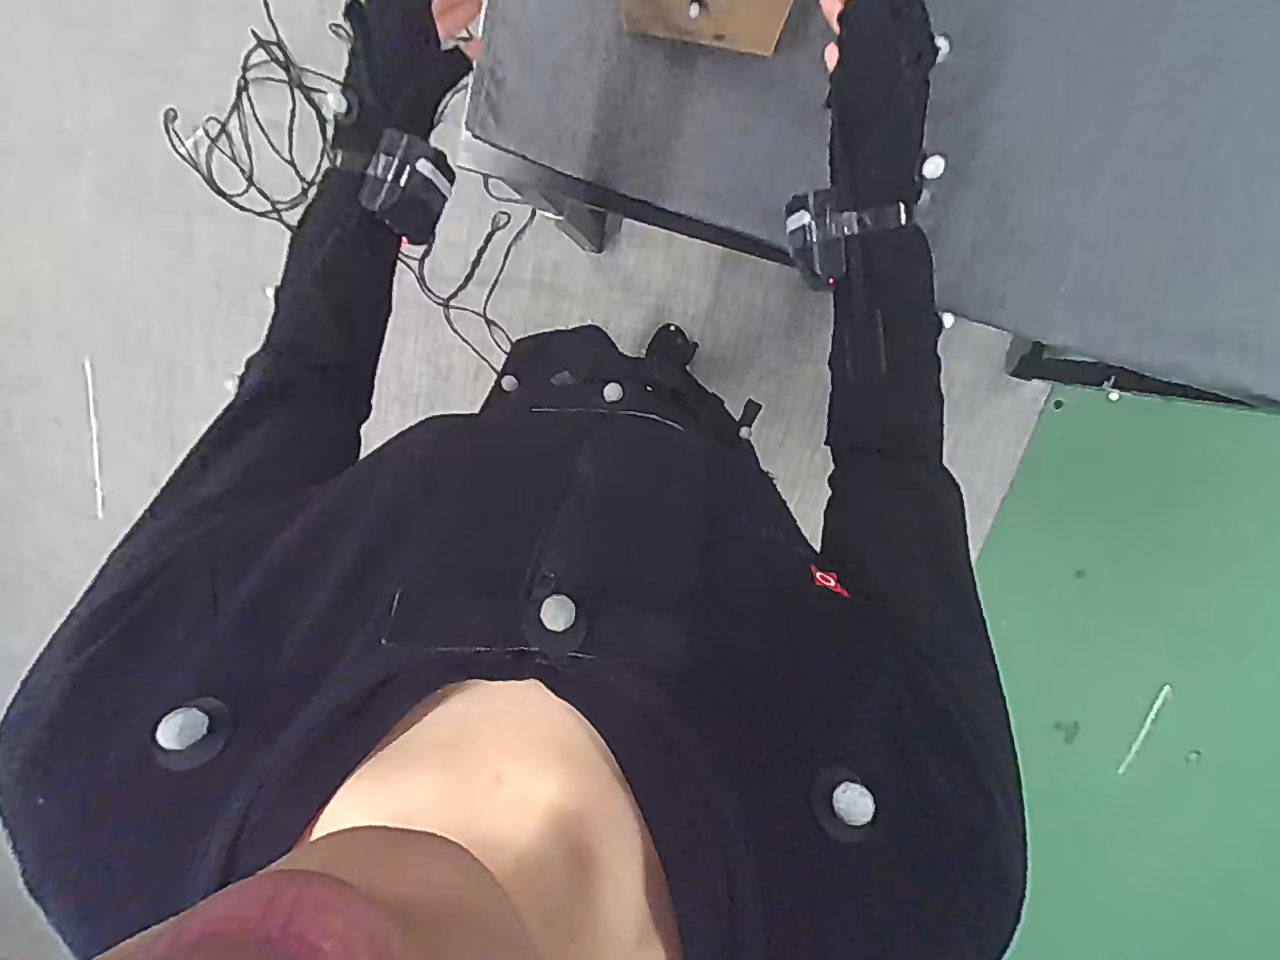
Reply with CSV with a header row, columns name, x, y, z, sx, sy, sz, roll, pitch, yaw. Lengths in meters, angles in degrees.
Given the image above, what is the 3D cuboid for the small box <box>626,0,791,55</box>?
name,x,y,z,sx,sy,sz,roll,pitch,yaw
small box,0.076,-0.536,0.495,0.168,0.176,0.179,10,105,-1
